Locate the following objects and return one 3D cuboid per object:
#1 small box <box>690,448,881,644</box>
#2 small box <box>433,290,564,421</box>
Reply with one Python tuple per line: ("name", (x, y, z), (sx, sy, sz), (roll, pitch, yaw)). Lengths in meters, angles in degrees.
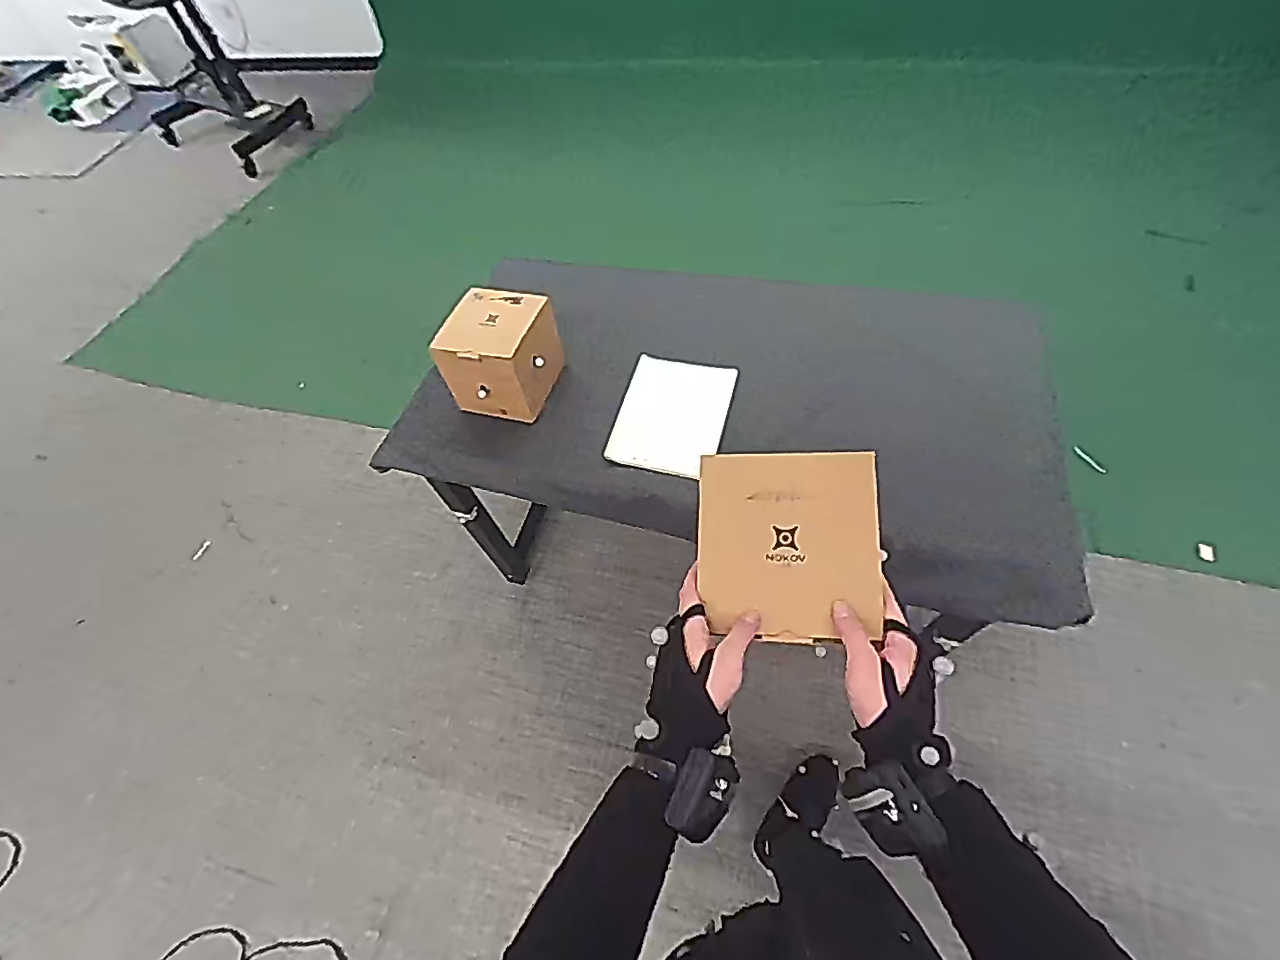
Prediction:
("small box", (0.145, 0.075, 0.569), (0.168, 0.176, 0.179), (-1, 74, 12))
("small box", (-0.261, -0.238, 1.049), (0.168, 0.176, 0.179), (12, 59, 13))
